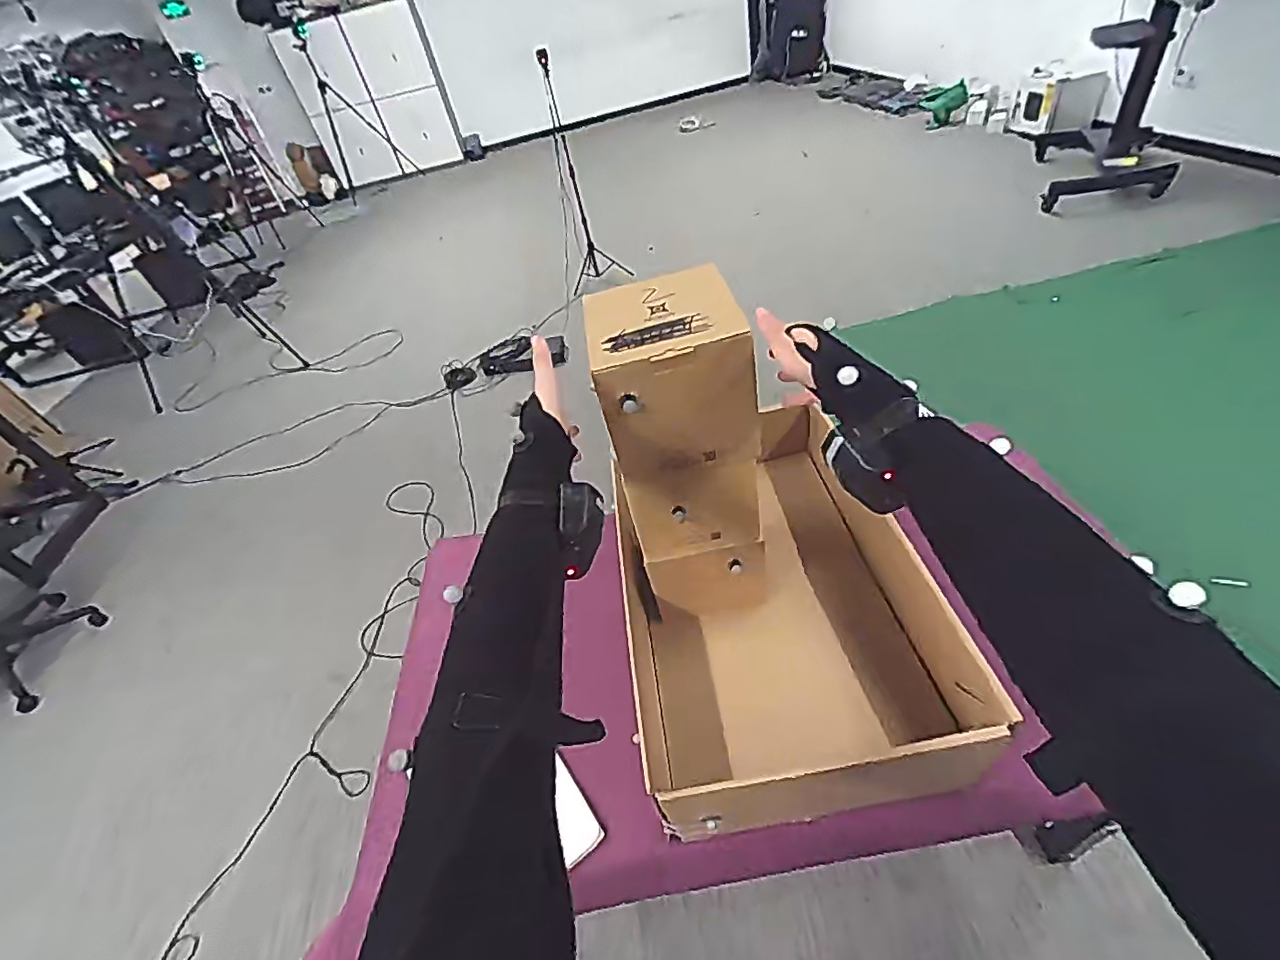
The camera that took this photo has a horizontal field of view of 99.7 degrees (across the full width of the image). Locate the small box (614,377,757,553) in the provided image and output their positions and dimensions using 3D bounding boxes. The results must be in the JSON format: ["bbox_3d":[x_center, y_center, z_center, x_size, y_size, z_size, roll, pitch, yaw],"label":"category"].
[{"bbox_3d":[0.064,-0.013,0.764,0.168,0.176,0.179,-12,43,4],"label":"small box"}]
